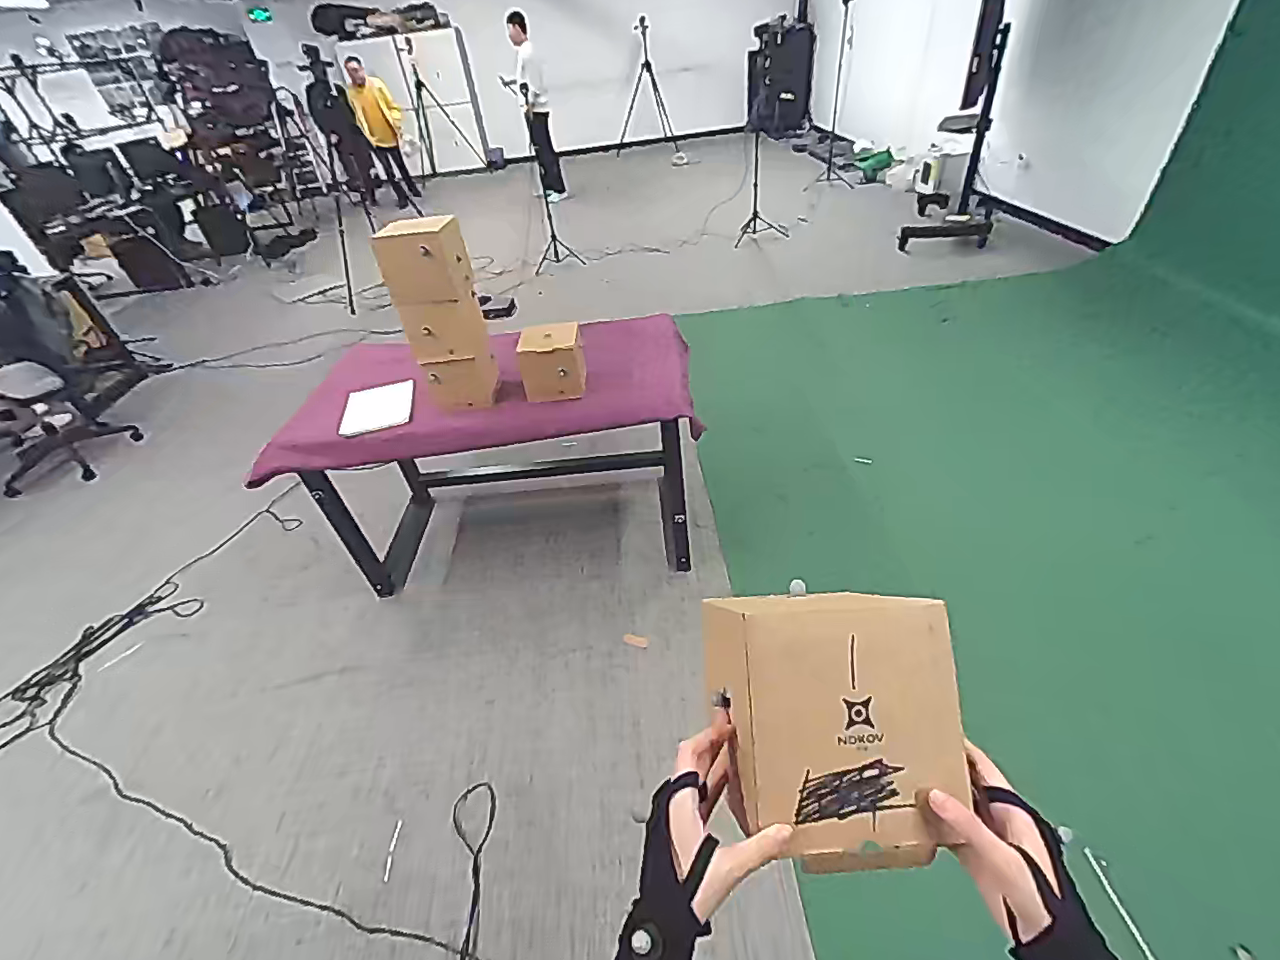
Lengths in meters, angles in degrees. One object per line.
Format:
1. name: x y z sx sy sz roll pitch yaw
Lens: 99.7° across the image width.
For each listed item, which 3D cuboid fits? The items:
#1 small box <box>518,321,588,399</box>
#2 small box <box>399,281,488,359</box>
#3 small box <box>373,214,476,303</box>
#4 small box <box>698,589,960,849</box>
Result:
1. small box: -0.250 -0.350 1.600 0.168 0.176 0.179 -5 38 3
2. small box: -0.536 -0.446 1.505 0.168 0.176 0.179 -5 38 3
3. small box: -0.545 -0.571 1.397 0.179 0.176 0.168 -4 38 5
4. small box: 0.150 0.193 0.487 0.168 0.176 0.179 -1 80 -5
